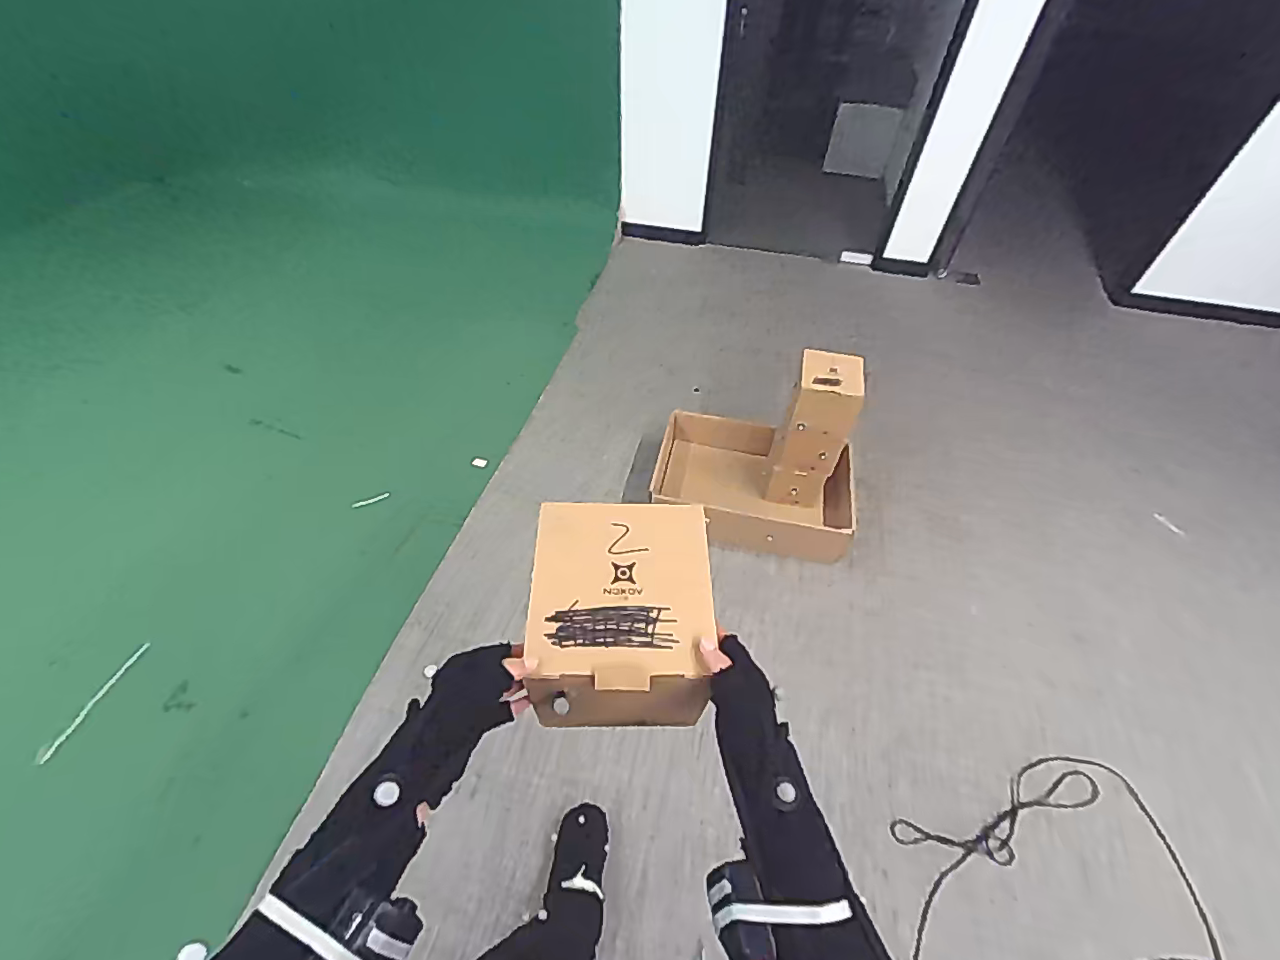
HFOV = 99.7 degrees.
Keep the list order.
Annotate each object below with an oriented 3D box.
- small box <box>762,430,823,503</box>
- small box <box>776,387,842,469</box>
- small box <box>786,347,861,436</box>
[{"bbox_3d":[0.500,-0.041,1.788,0.168,0.176,0.179,6,49,6],"label":"small box"},{"bbox_3d":[0.516,-0.157,1.648,0.168,0.176,0.179,10,50,8],"label":"small box"},{"bbox_3d":[0.516,-0.247,1.531,0.168,0.176,0.179,11,51,7],"label":"small box"}]
